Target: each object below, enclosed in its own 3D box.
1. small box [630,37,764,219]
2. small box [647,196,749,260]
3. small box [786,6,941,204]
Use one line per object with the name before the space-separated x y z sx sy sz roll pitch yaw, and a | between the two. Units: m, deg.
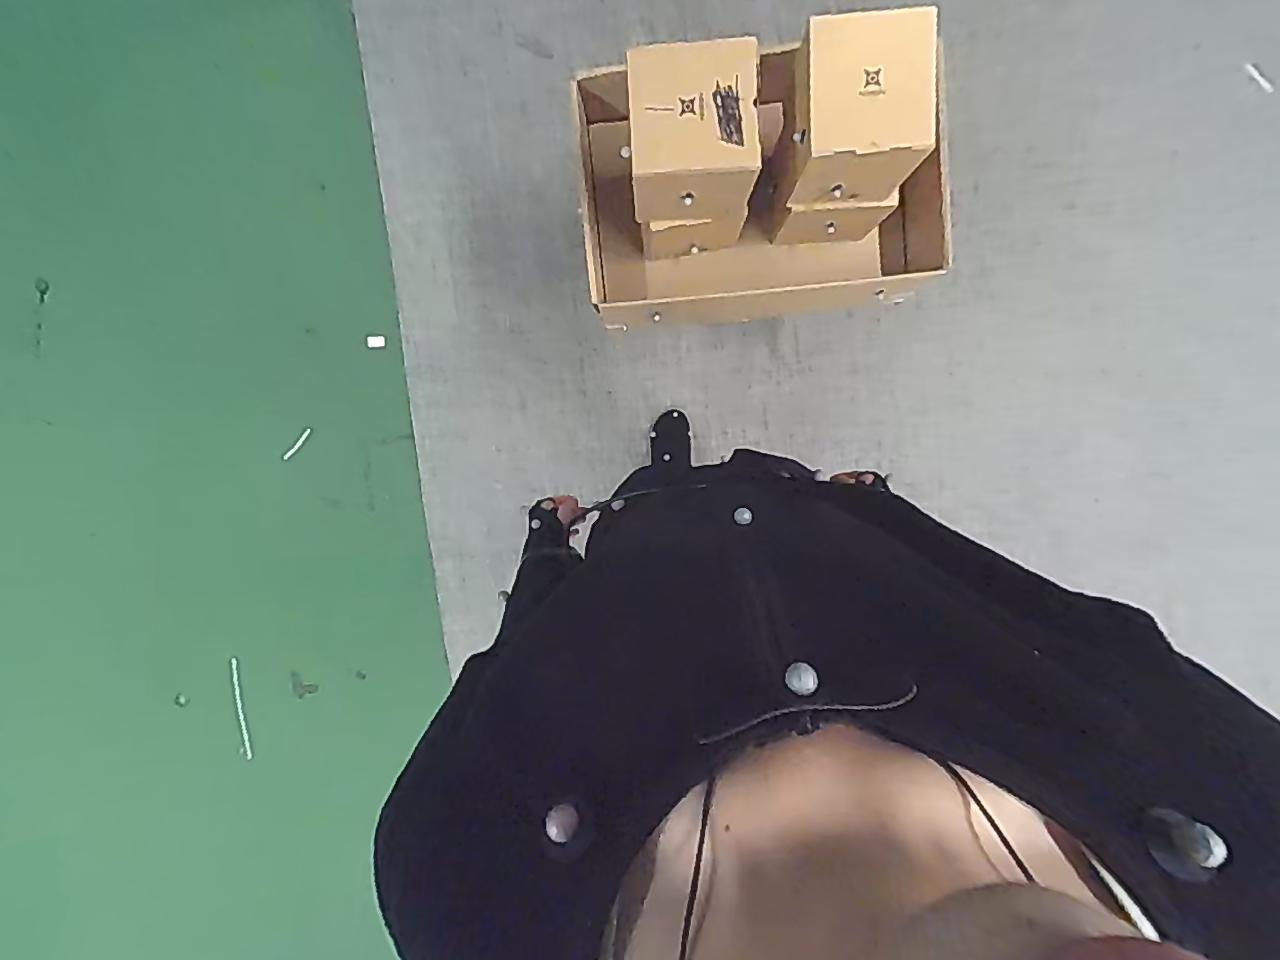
small box | 0.078 -0.502 0.795 0.179 0.176 0.168 -2 94 3
small box | 0.090 -0.516 0.959 0.168 0.176 0.179 -9 95 4
small box | 0.313 -0.530 0.786 0.168 0.176 0.179 -2 94 3
